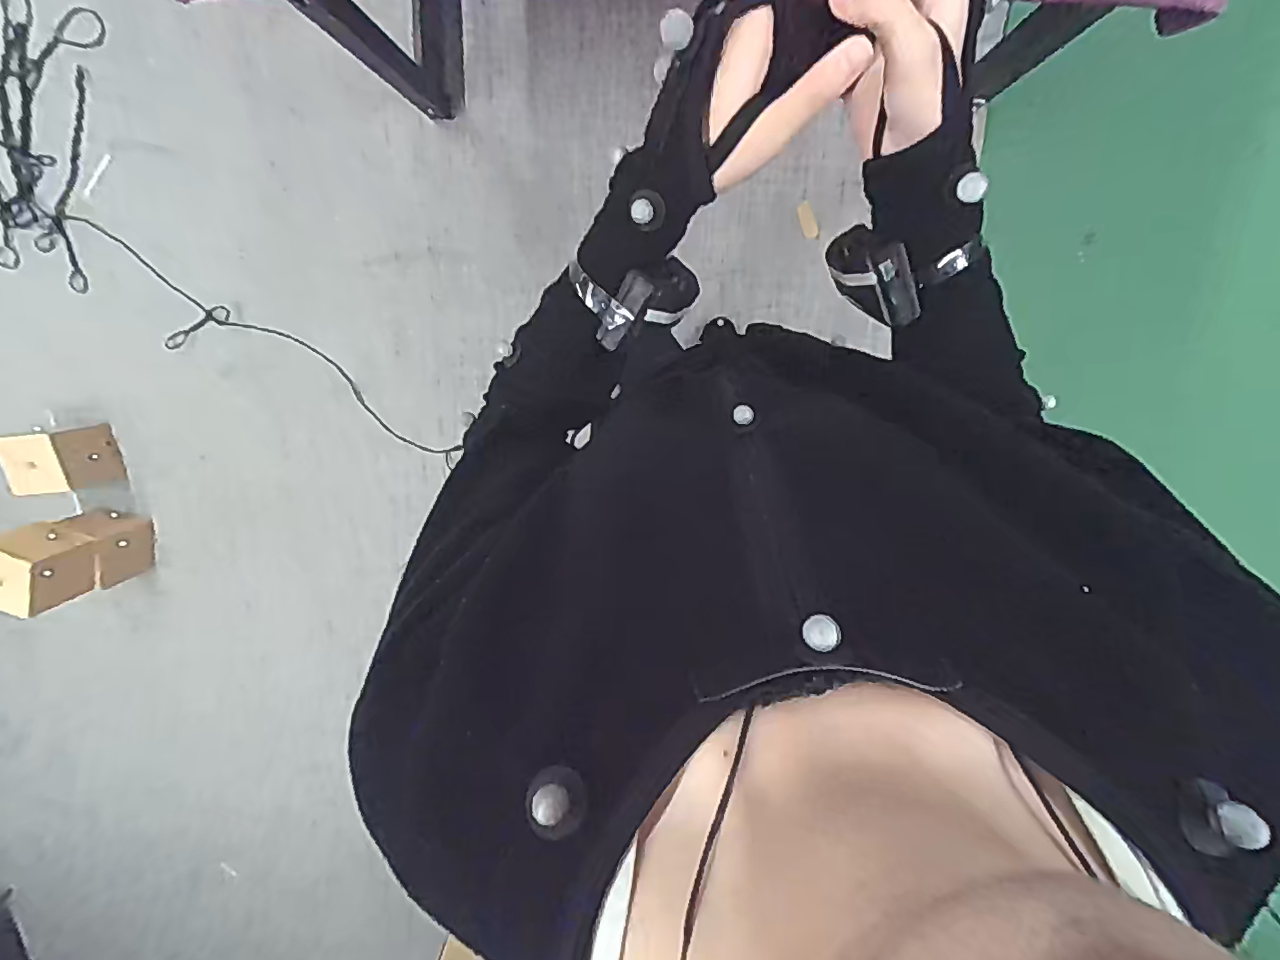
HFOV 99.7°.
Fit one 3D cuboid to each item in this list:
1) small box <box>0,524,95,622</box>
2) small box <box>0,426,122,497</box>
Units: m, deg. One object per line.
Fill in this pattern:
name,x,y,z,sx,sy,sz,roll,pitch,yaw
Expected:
small box,-1.635,0.245,1.460,0.168,0.176,0.179,20,105,-1
small box,-1.642,-0.058,1.542,0.179,0.176,0.168,-4,105,5
